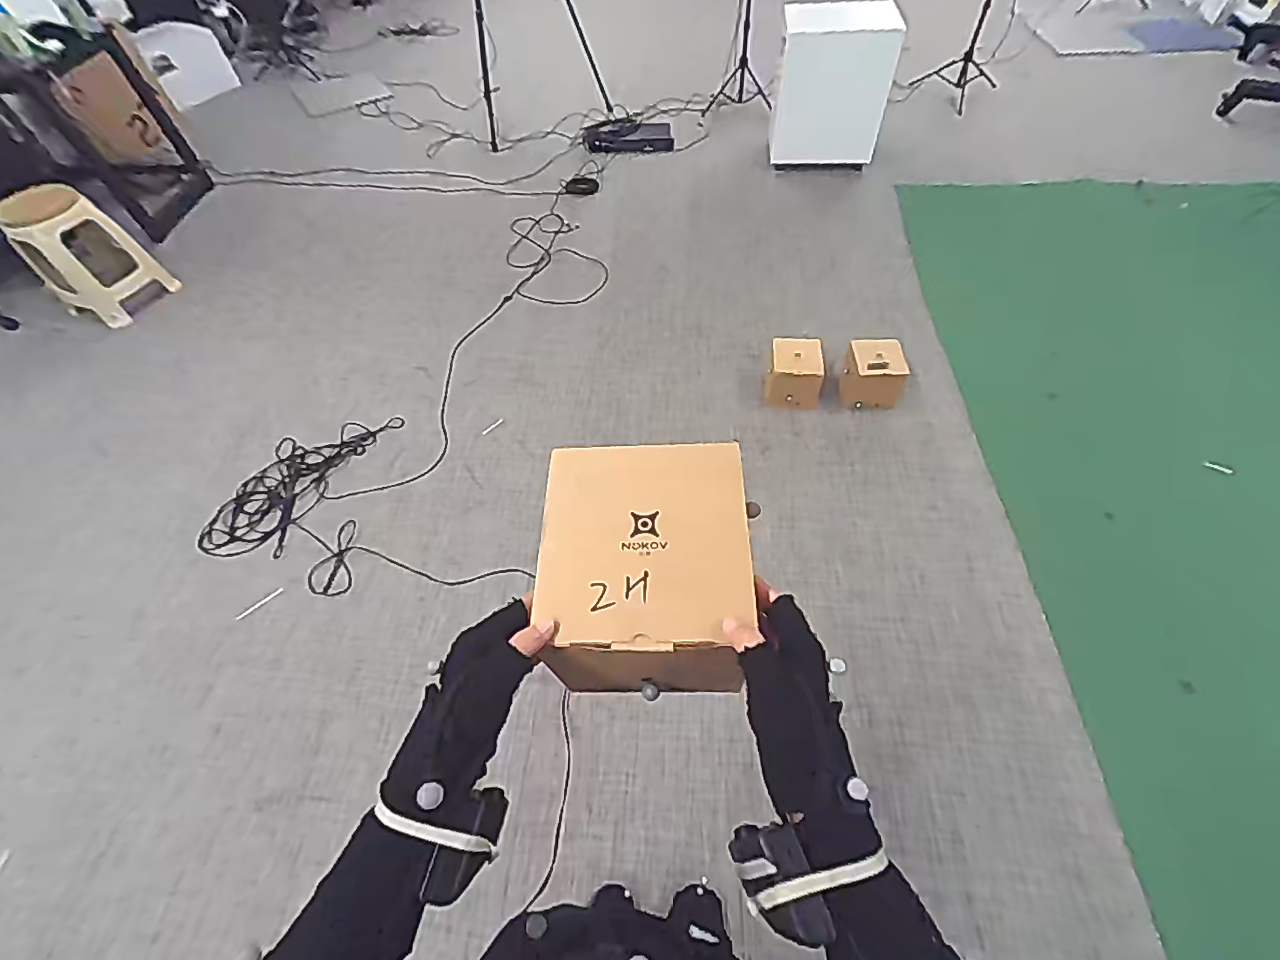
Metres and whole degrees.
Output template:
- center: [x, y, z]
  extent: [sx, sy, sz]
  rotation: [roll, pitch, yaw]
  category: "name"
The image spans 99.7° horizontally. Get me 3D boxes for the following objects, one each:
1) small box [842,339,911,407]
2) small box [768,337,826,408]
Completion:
- center: [0.816, -0.369, 1.883]
  extent: [0.168, 0.176, 0.179]
  rotation: [1, 55, 4]
  category: "small box"
- center: [0.549, -0.379, 1.908]
  extent: [0.168, 0.176, 0.179]
  rotation: [3, 56, 6]
  category: "small box"
